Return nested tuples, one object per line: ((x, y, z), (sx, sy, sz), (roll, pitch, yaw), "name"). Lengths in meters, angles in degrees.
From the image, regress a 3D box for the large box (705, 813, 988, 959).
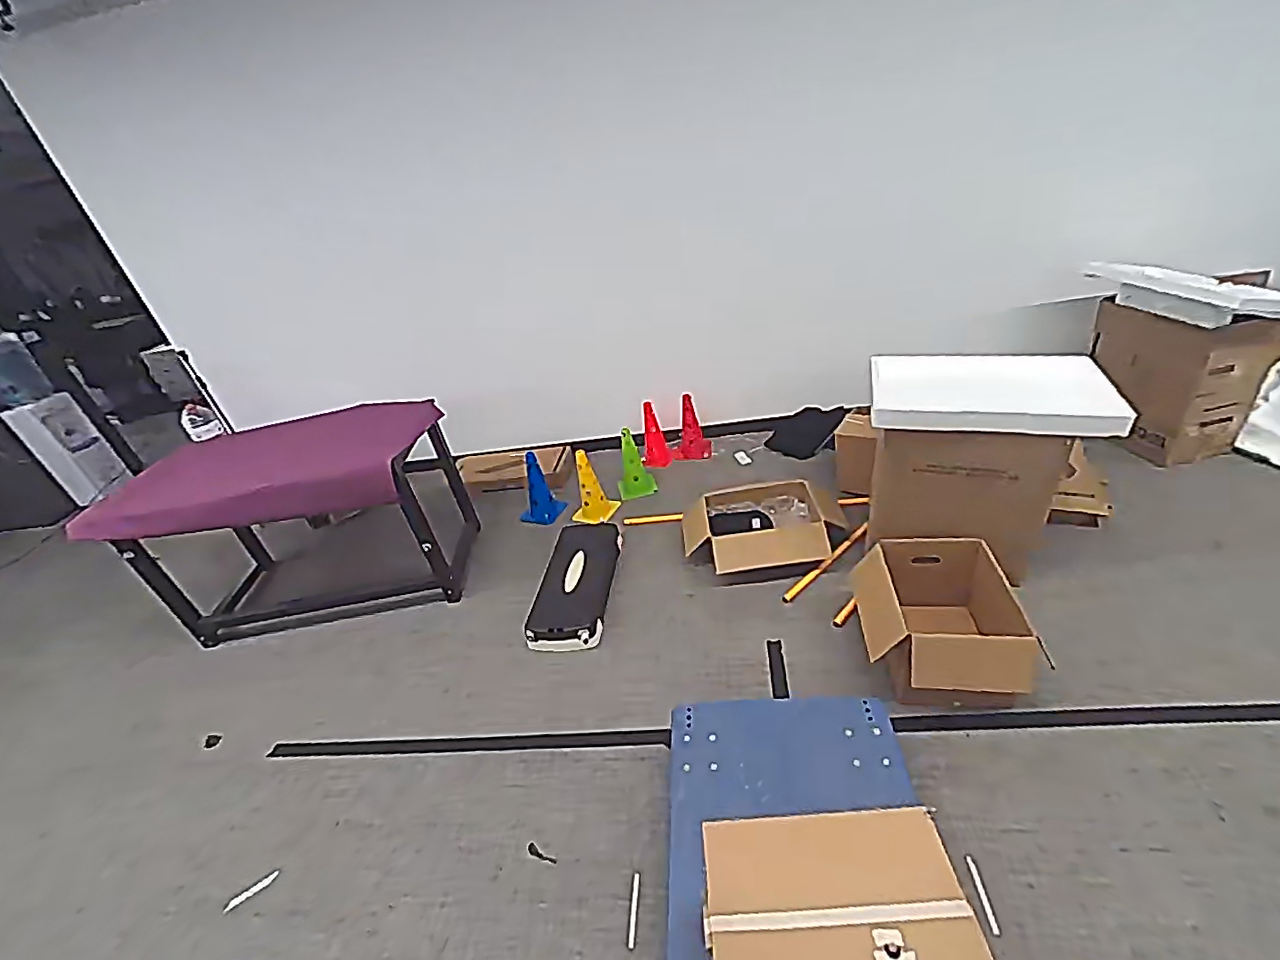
((0.334, 0.826, 0.926), (0.408, 0.320, 0.320), (-7, 32, 5), "large box")
